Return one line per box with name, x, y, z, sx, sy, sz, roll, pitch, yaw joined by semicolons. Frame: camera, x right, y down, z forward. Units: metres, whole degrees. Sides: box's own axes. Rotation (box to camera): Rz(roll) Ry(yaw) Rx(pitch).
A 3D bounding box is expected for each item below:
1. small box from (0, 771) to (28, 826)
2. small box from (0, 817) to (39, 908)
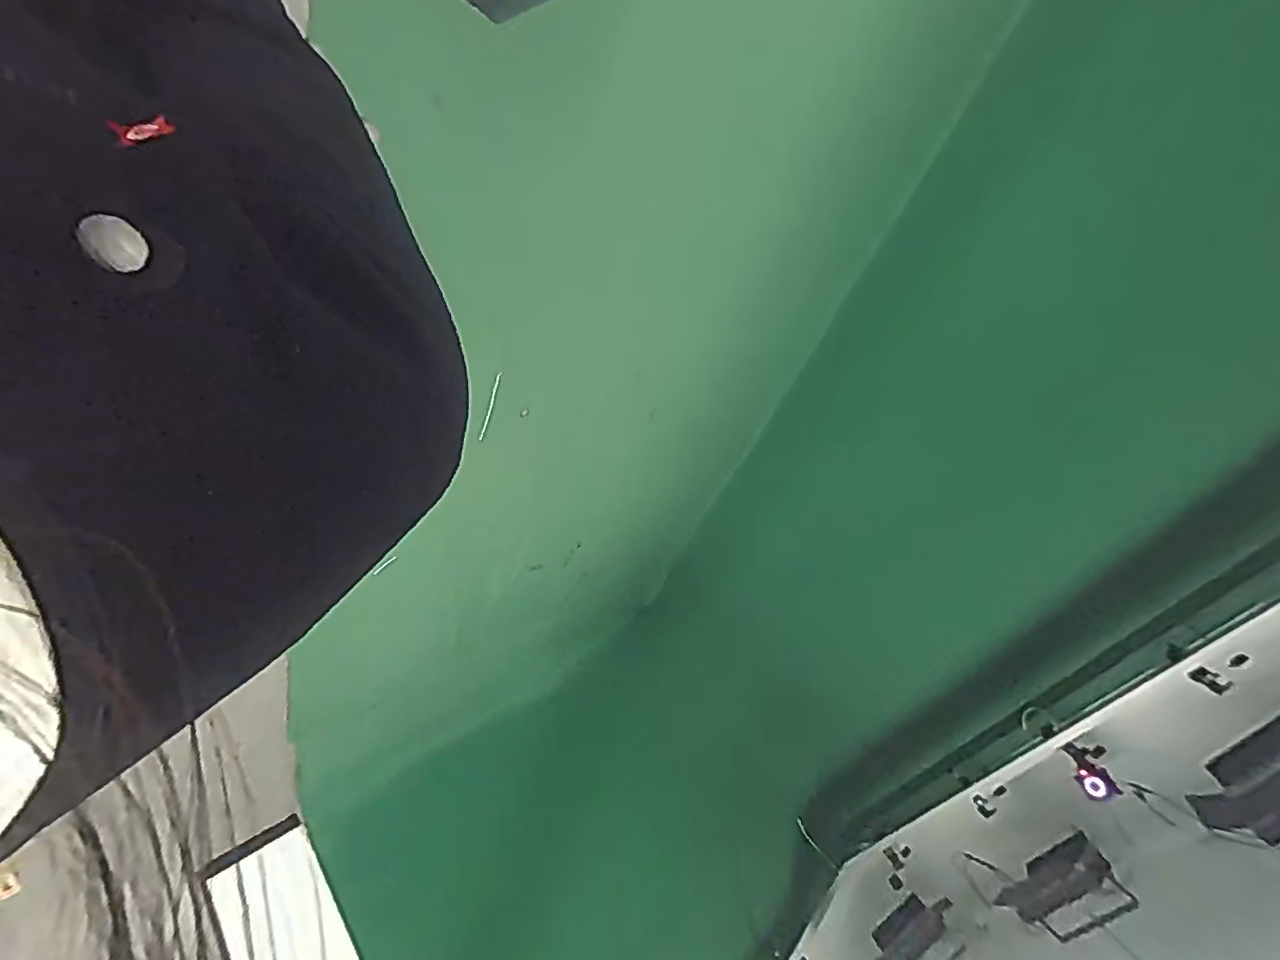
small box;-1.993;1.025;1.625;0.179;0.176;0.168;-18;142;-44
small box;-1.886;1.129;1.559;0.179;0.176;0.168;-14;140;-48
